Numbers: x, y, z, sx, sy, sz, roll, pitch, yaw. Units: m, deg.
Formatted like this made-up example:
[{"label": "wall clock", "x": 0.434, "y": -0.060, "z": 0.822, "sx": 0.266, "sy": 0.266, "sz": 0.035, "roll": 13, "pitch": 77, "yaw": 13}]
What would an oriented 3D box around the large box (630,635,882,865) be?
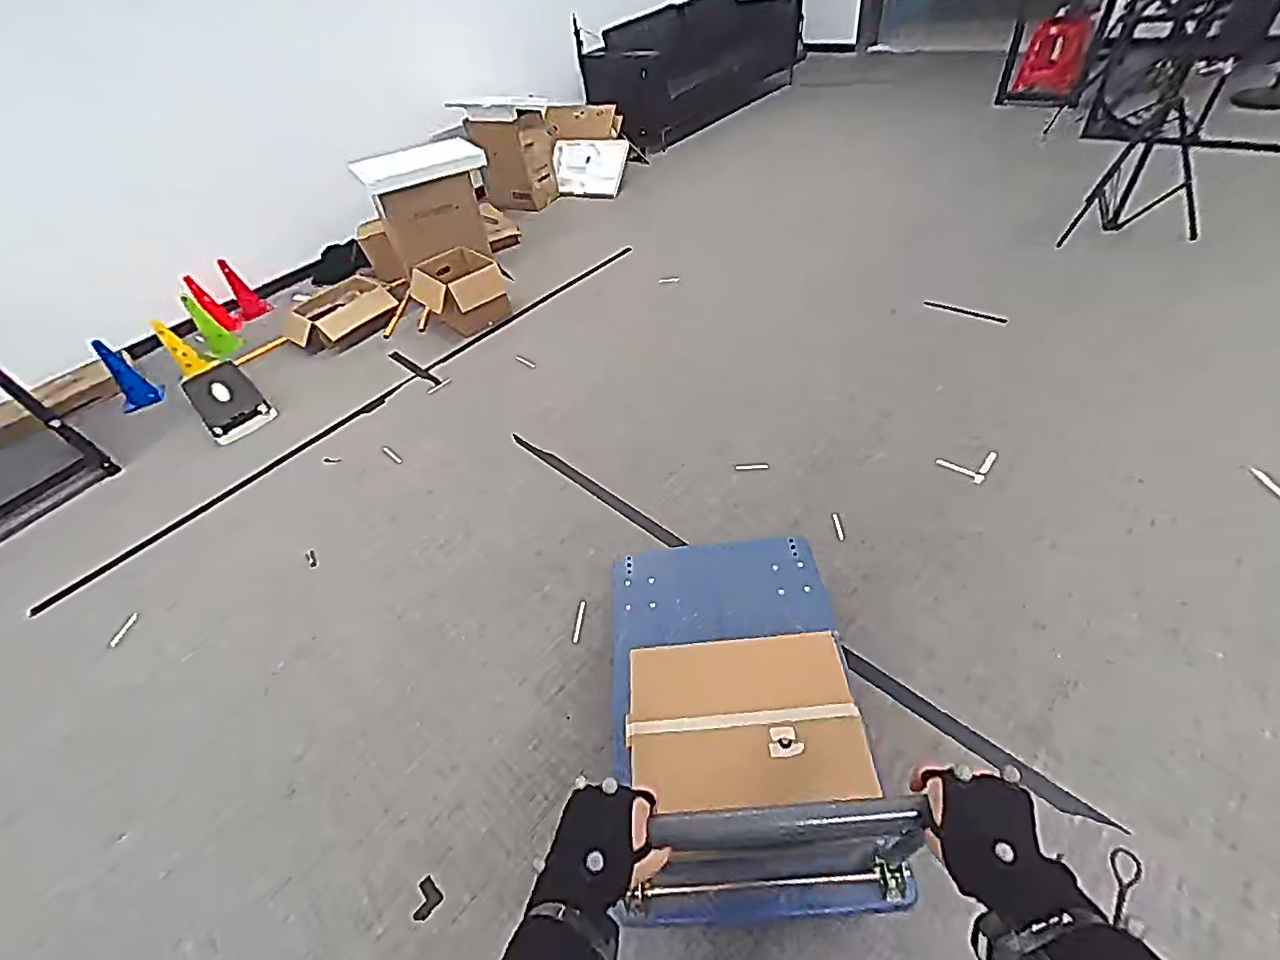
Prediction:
[{"label": "large box", "x": 0.199, "y": 0.539, "z": 1.073, "sx": 0.408, "sy": 0.320, "sz": 0.320, "roll": -6, "pitch": 46, "yaw": 4}]
